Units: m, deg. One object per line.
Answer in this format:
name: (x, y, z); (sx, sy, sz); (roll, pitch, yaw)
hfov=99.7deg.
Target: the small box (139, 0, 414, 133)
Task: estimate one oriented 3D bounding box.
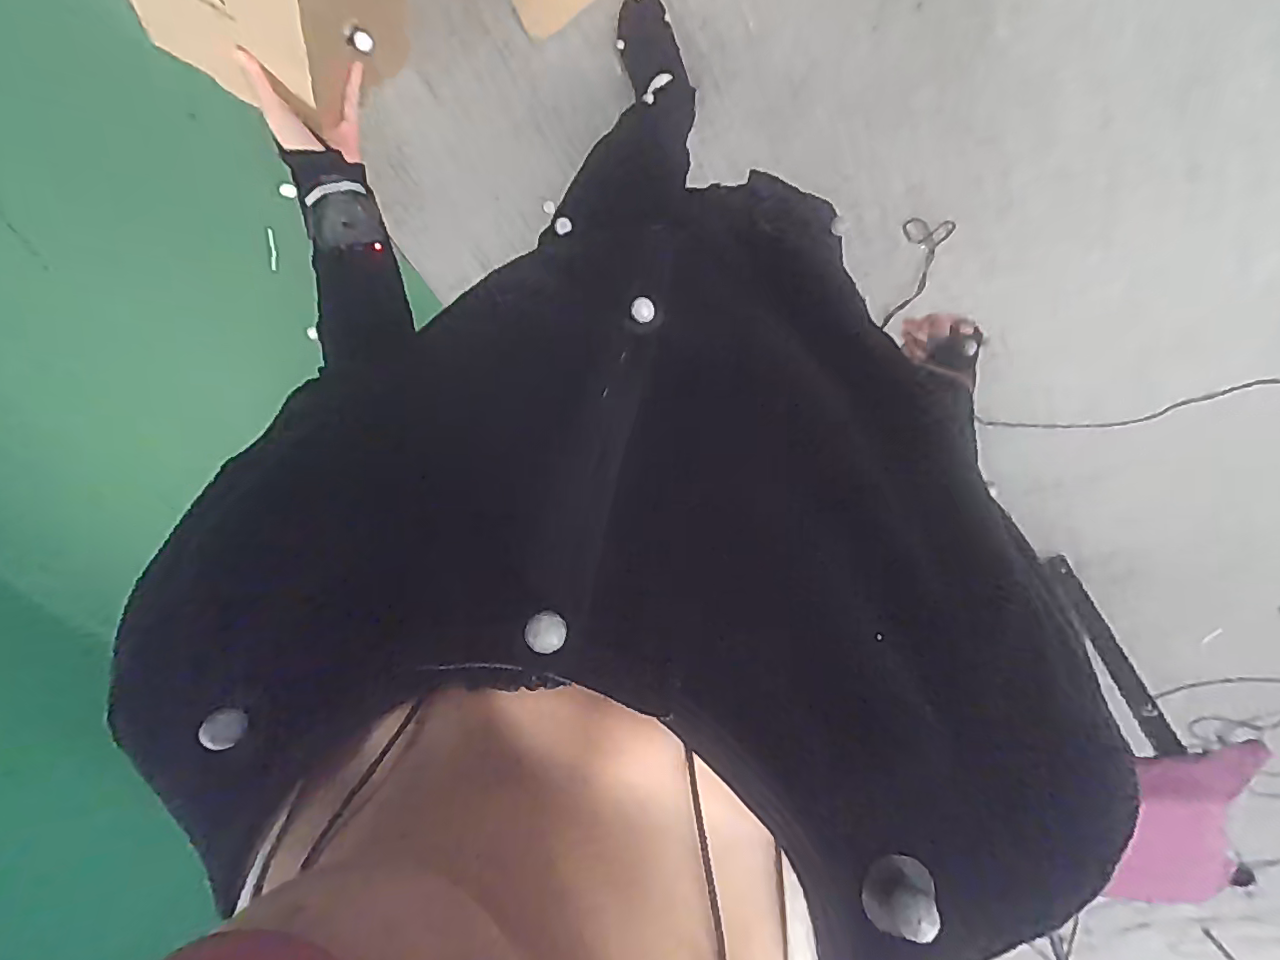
small box: (-0.313, -0.464, 0.468); (0.168, 0.176, 0.179); (28, 152, -11)
